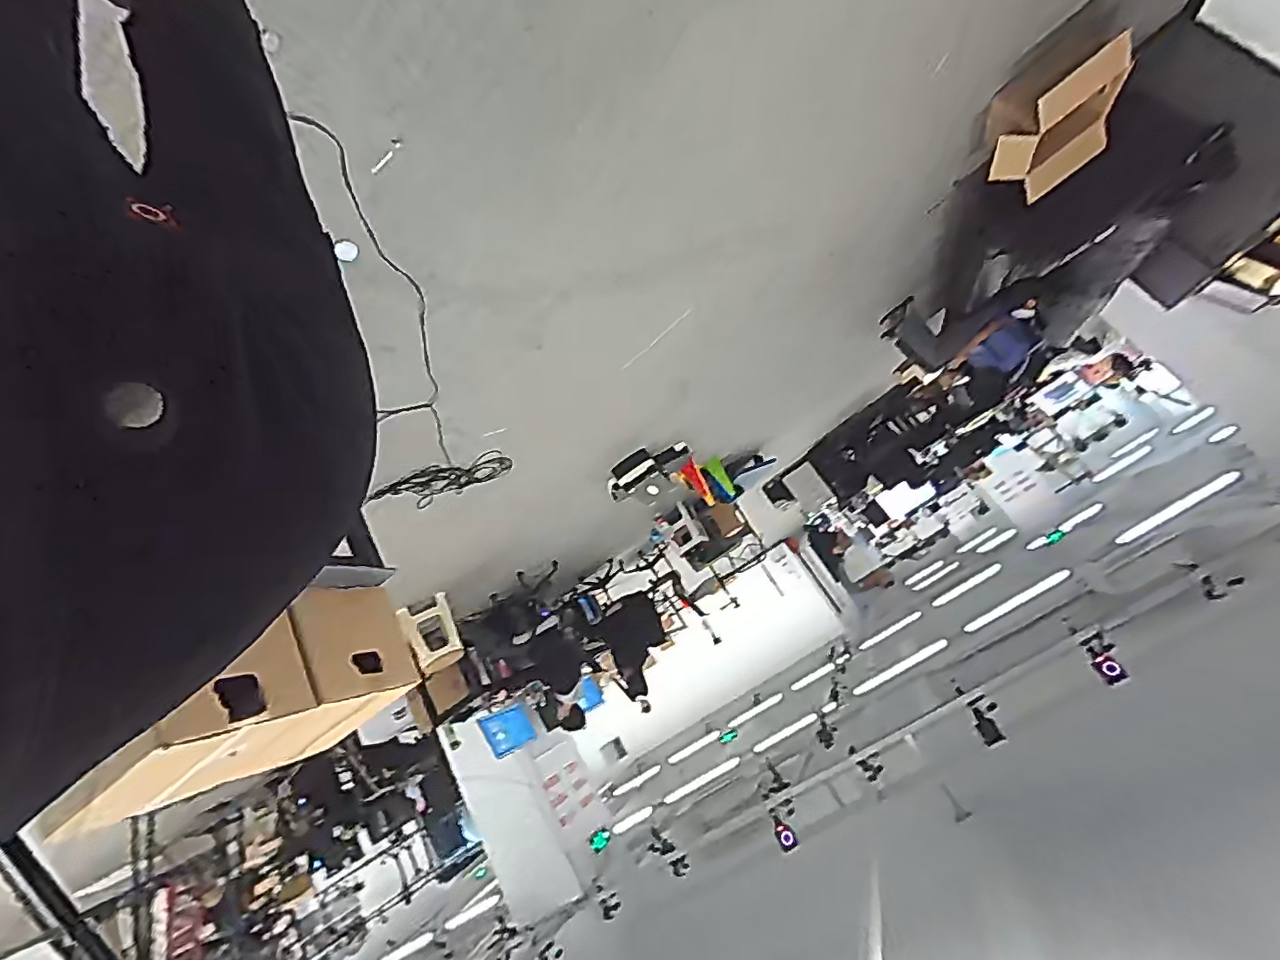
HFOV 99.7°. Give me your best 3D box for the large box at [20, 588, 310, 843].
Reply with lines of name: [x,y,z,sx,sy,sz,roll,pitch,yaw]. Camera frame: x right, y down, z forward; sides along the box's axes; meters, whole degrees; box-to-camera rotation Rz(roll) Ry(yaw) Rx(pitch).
large box: [-1.024,0.480,1.173,0.408,0.320,0.320,-38,161,13]
